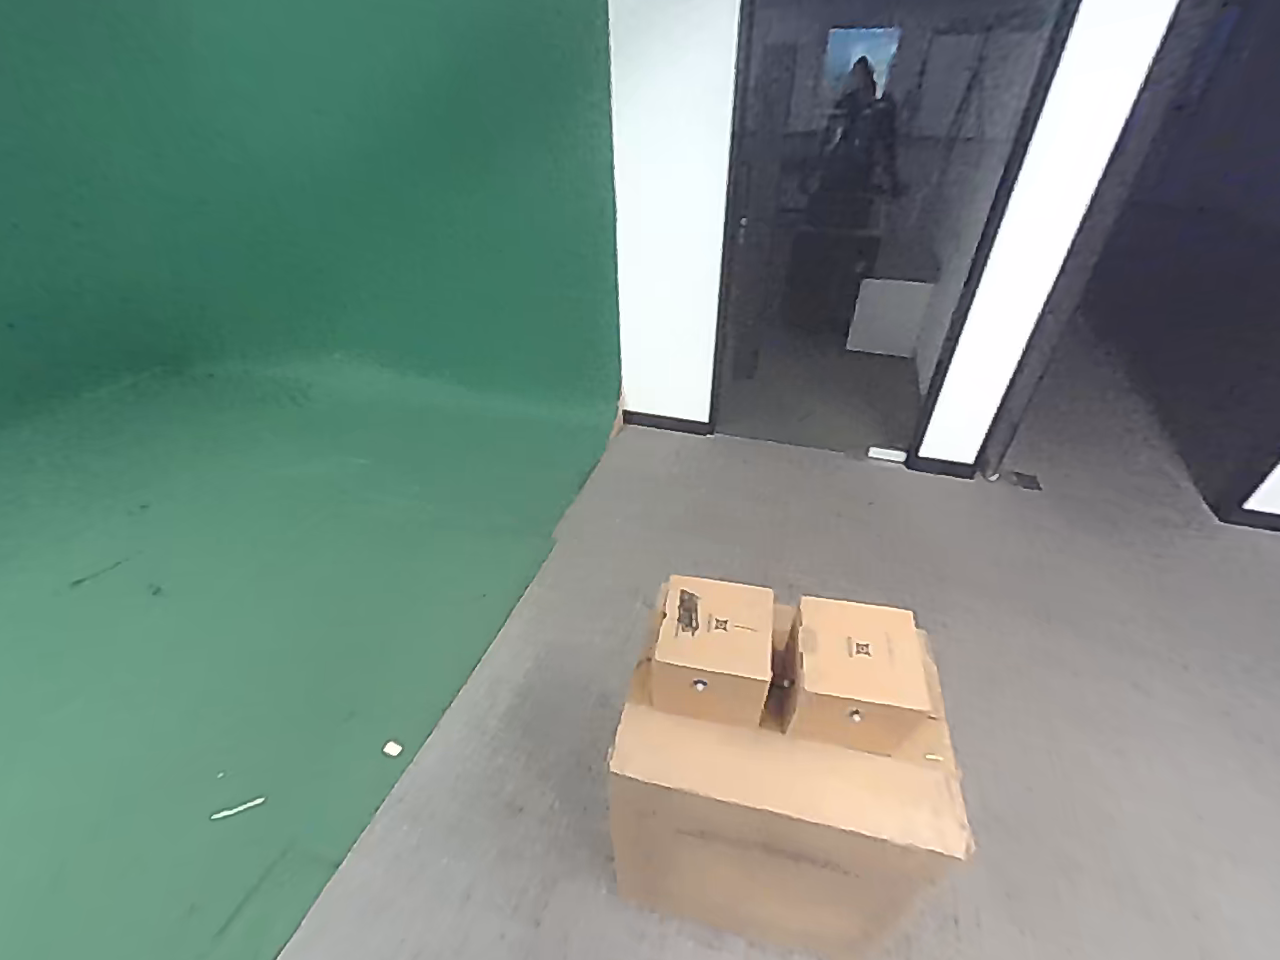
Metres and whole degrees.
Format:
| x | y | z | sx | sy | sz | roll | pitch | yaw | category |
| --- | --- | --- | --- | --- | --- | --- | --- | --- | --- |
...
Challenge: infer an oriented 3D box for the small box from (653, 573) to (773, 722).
| x | y | z | sx | sy | sz | roll | pitch | yaw | category |
| --- | --- | --- | --- | --- | --- | --- | --- | --- | --- |
| 0.122 | 0.283 | 0.912 | 0.179 | 0.176 | 0.168 | 8 | 44 | 9 | small box |

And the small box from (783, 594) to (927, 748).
| x | y | z | sx | sy | sz | roll | pitch | yaw | category |
| --- | --- | --- | --- | --- | --- | --- | --- | --- | --- |
| 0.332 | 0.311 | 0.875 | 0.179 | 0.176 | 0.168 | 7 | 45 | 8 | small box |
